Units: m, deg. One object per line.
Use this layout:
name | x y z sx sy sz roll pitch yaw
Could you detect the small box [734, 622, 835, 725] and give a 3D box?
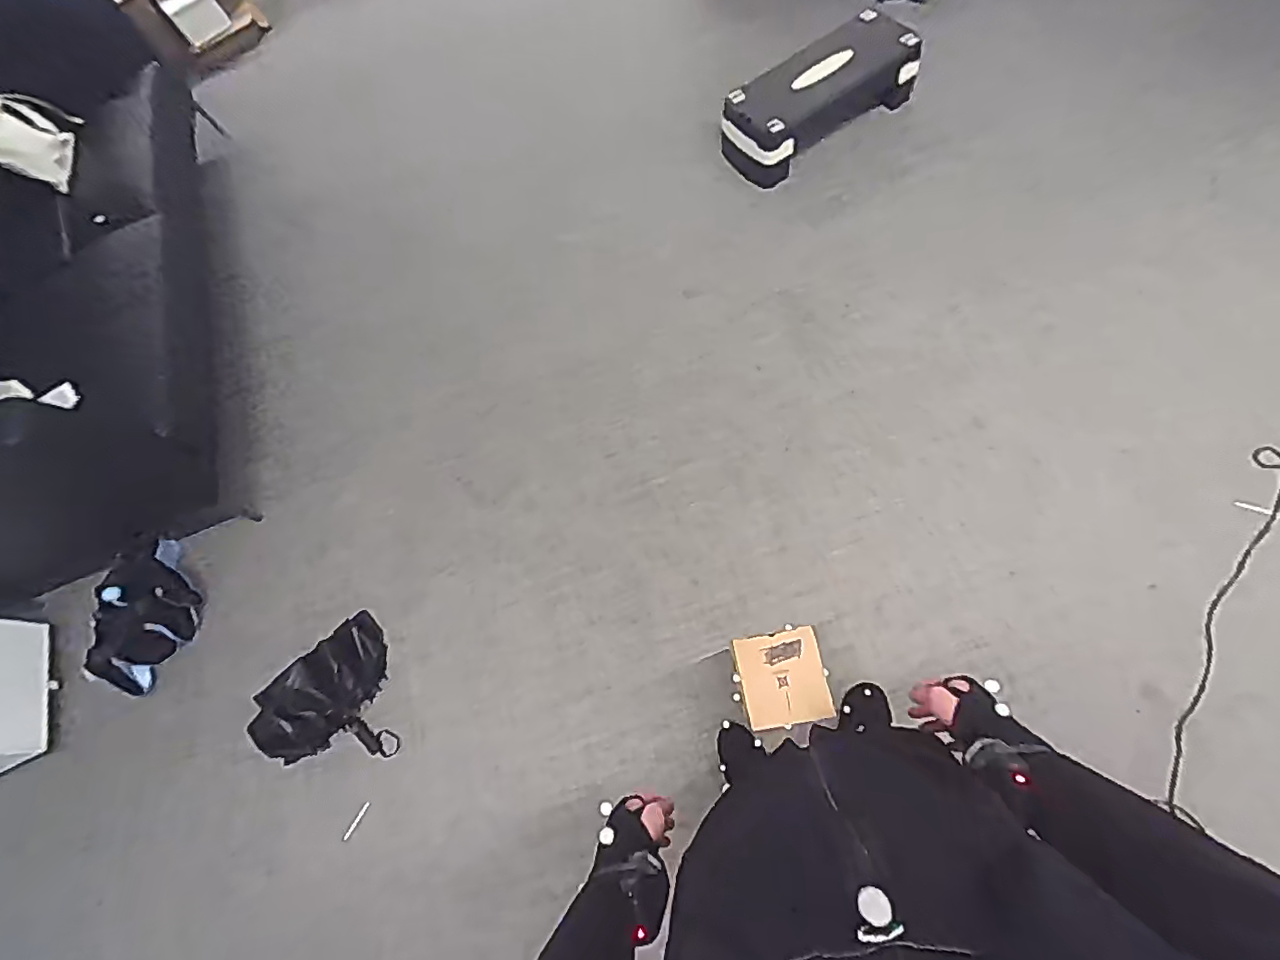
small box | 0.296 0.409 1.148 0.168 0.176 0.179 -12 70 6
